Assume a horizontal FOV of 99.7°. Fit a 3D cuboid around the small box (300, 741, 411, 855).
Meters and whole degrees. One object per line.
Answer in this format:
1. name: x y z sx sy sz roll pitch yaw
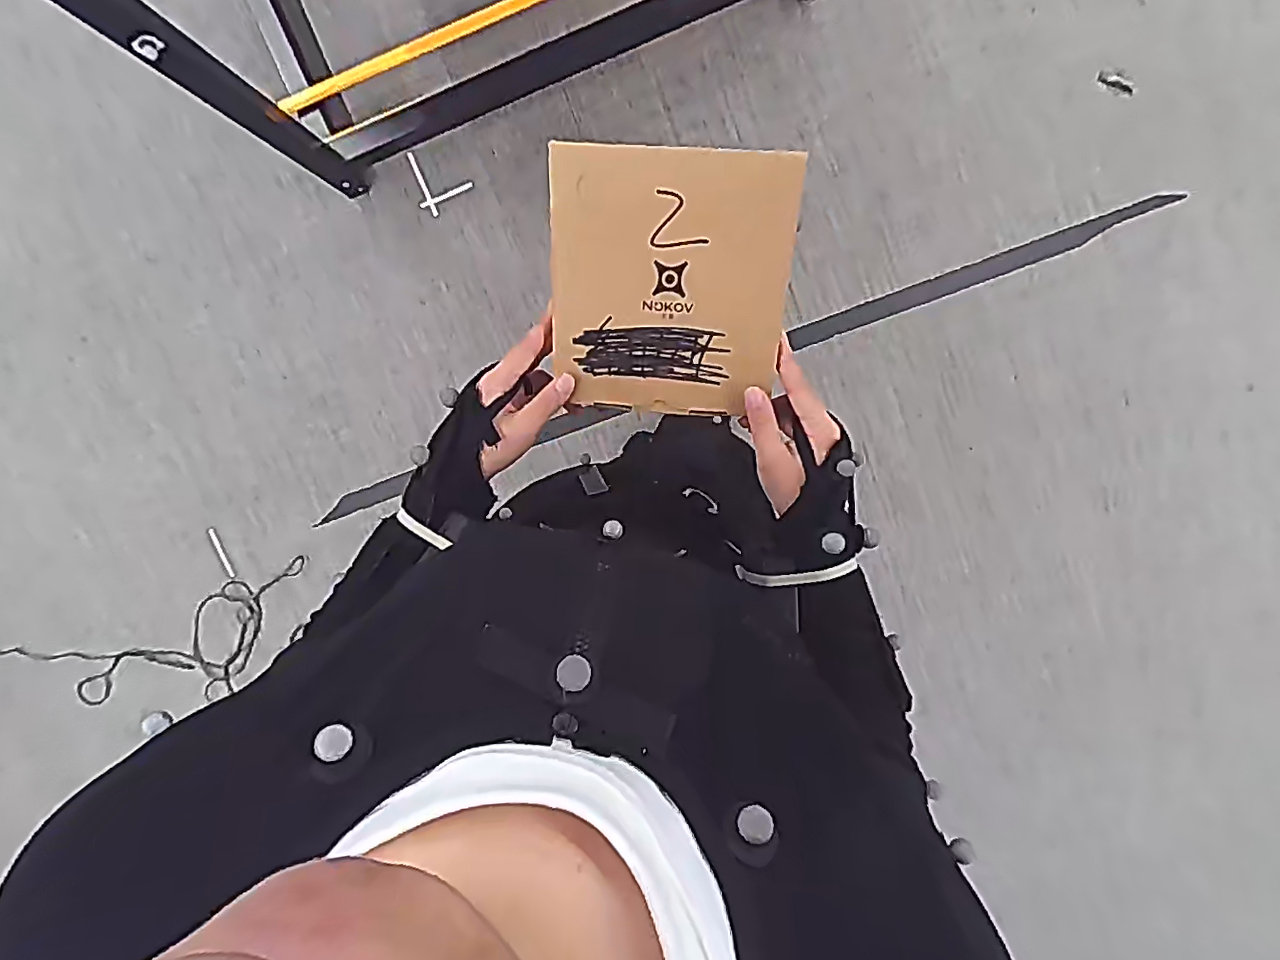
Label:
1. small box: -0.730 0.822 1.416 0.179 0.176 0.168 -22 96 5
